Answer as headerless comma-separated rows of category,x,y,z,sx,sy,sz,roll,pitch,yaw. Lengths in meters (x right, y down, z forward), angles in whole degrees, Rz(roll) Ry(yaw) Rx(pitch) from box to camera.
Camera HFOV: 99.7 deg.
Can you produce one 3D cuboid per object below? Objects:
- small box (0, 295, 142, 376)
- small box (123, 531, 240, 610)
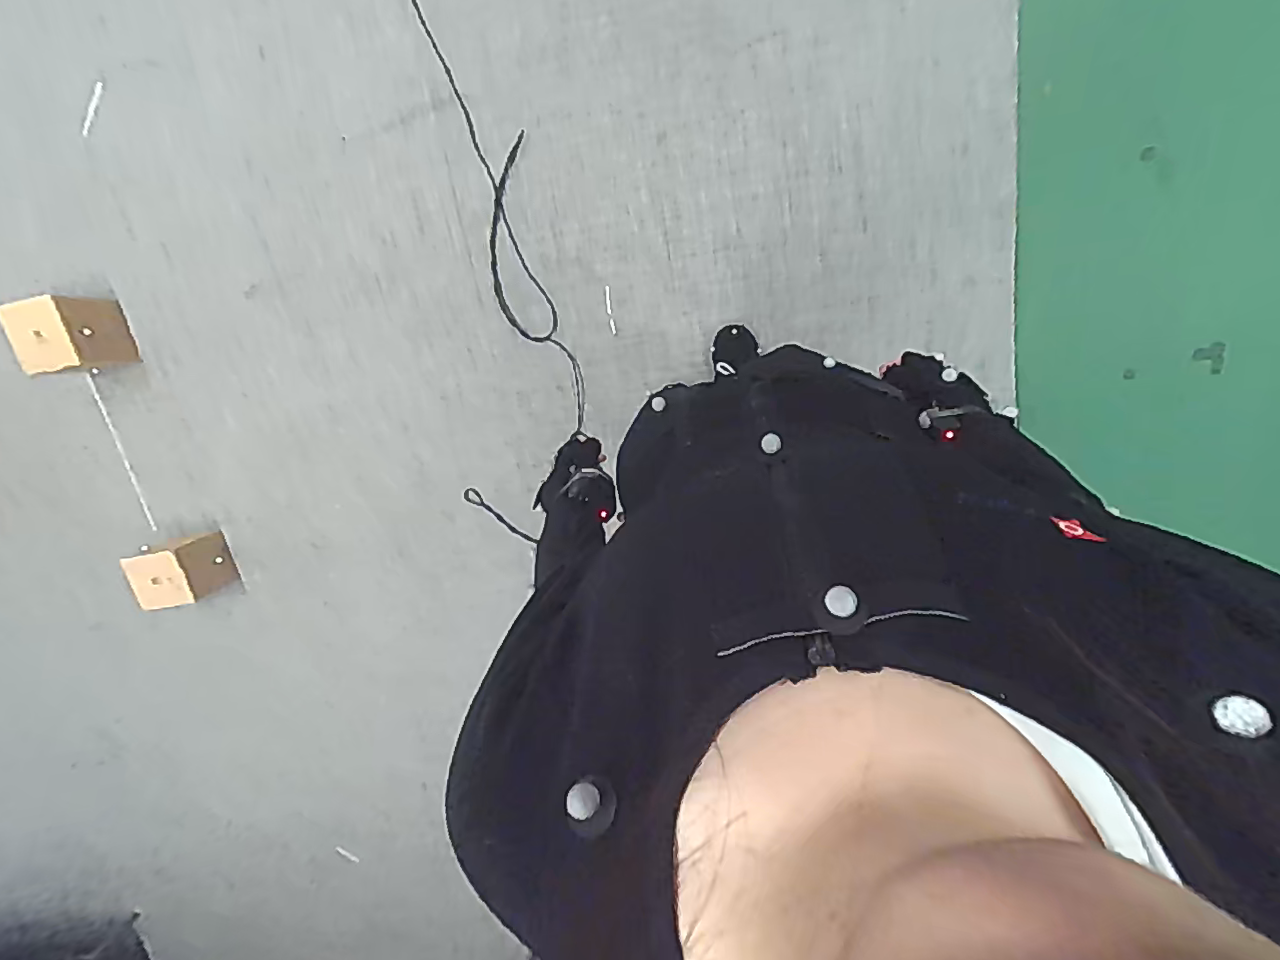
small box,-1.498,-0.382,1.435,0.168,0.176,0.179,-10,105,6
small box,-1.350,0.265,1.606,0.179,0.176,0.168,-10,105,7
